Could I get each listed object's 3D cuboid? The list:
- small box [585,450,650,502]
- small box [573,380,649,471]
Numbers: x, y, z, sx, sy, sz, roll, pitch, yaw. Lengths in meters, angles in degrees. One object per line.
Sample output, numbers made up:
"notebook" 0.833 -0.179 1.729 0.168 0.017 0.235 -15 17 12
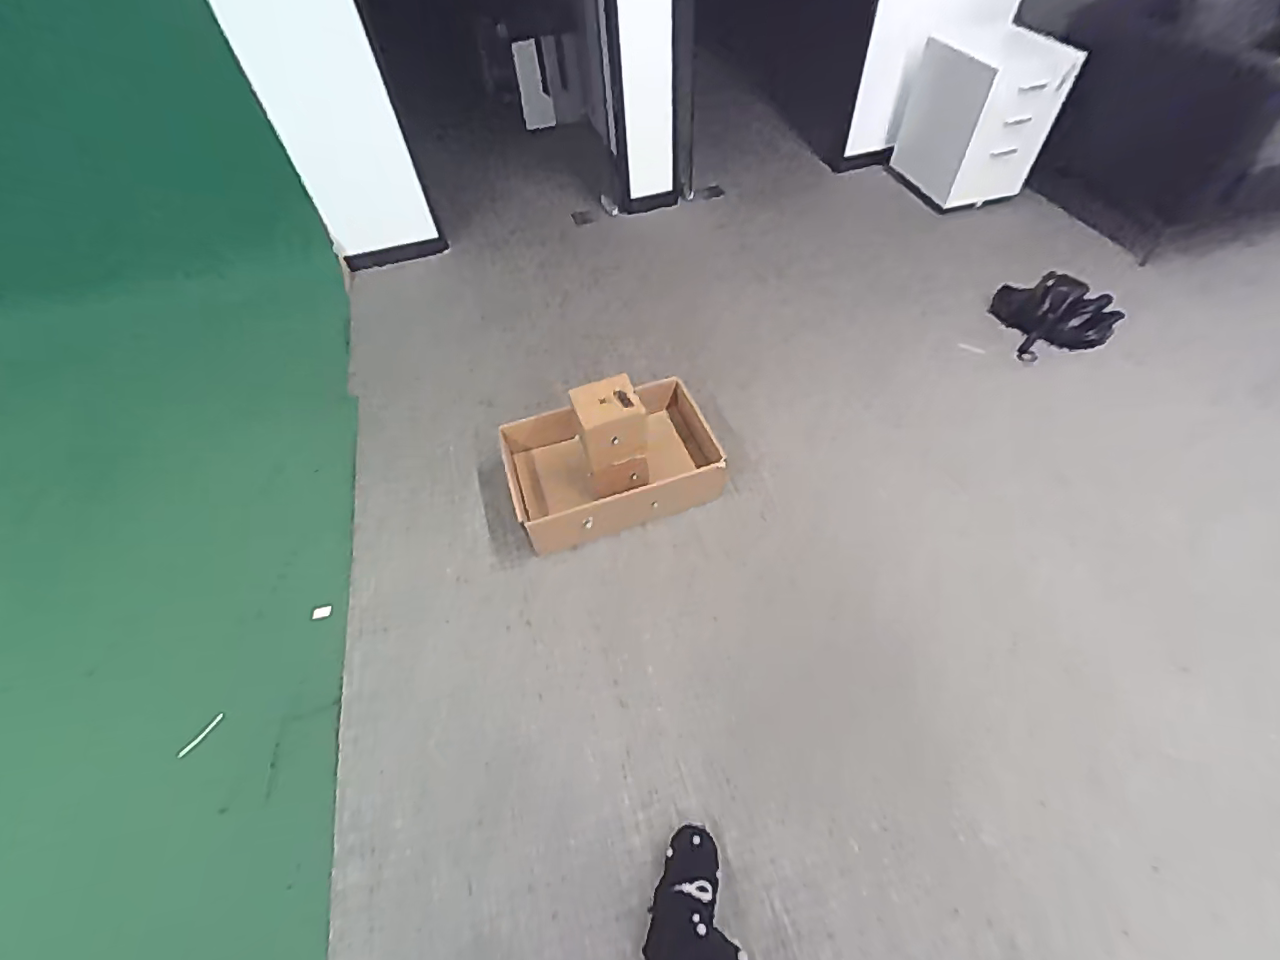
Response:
"small box" -0.071 -0.052 1.664 0.168 0.176 0.179 -15 51 -8
"small box" -0.079 -0.153 1.535 0.179 0.176 0.168 -17 53 -8
